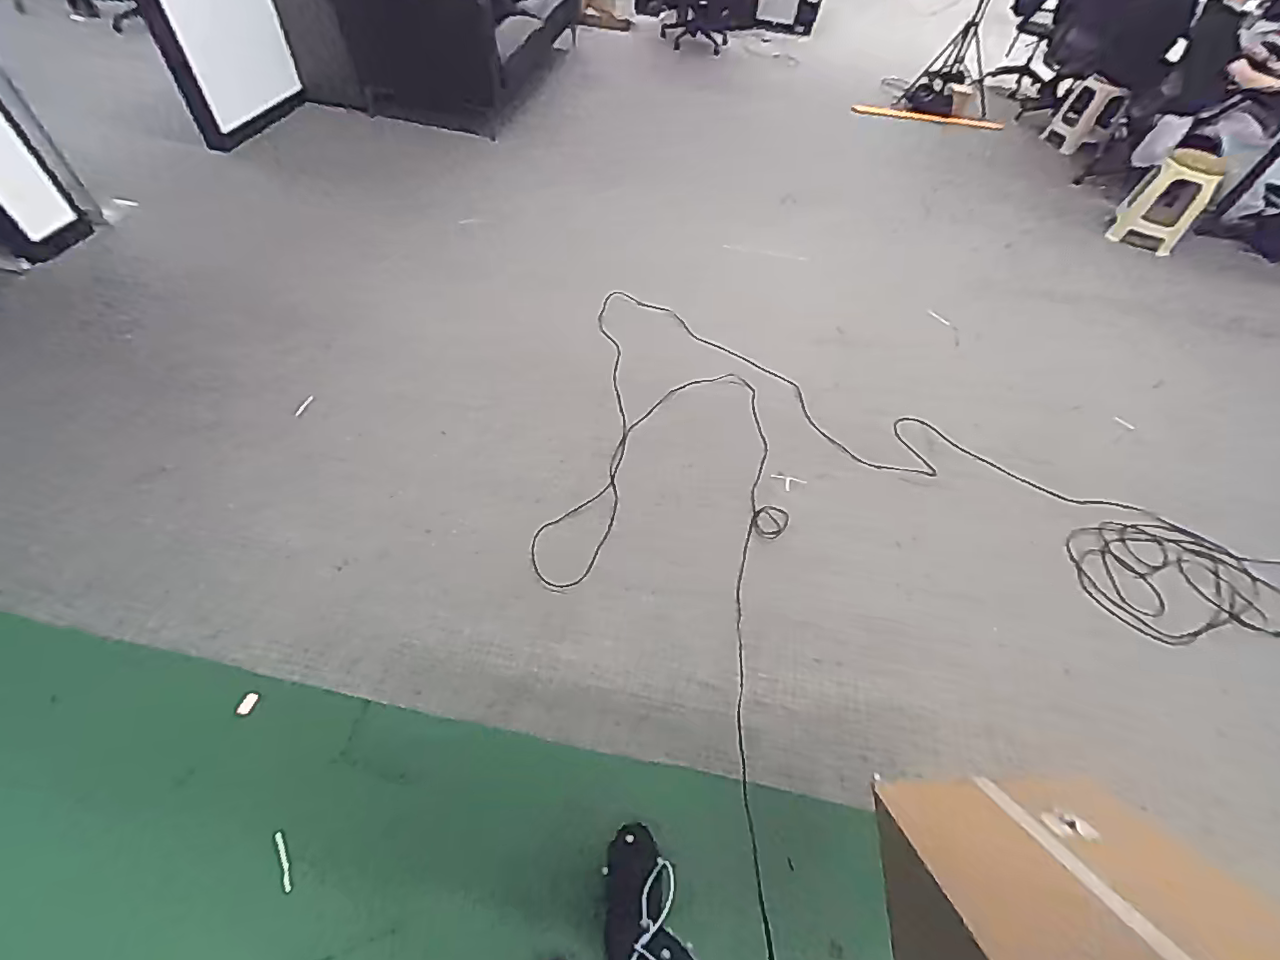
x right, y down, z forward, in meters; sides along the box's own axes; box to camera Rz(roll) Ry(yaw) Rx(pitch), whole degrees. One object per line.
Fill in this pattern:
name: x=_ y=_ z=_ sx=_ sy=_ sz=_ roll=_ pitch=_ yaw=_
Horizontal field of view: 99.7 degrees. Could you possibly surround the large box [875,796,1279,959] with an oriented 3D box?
large box: x=0.508 y=0.622 z=0.615 sx=0.320 sy=0.408 sz=0.320 roll=-4 pitch=84 yaw=6
